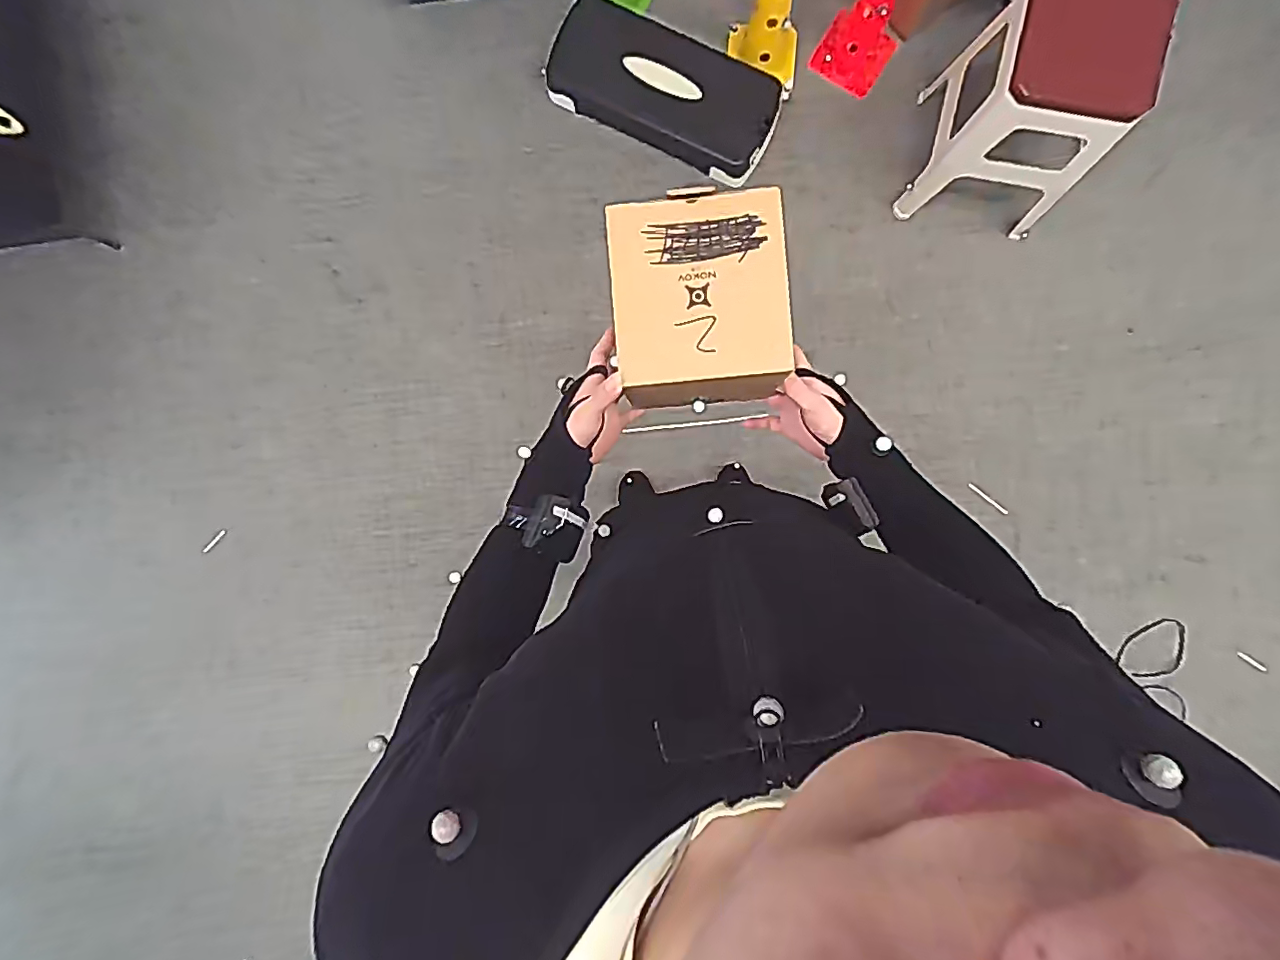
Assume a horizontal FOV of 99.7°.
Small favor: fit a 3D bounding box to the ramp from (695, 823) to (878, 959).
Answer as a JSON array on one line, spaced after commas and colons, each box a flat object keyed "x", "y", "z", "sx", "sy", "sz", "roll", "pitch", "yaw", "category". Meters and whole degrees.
[{"x": 0.454, "y": 1.542, "z": 1.547, "sx": 0.509, "sy": 0.206, "sz": 0.991, "roll": -8, "pitch": 90, "yaw": 5, "category": "ramp"}]
